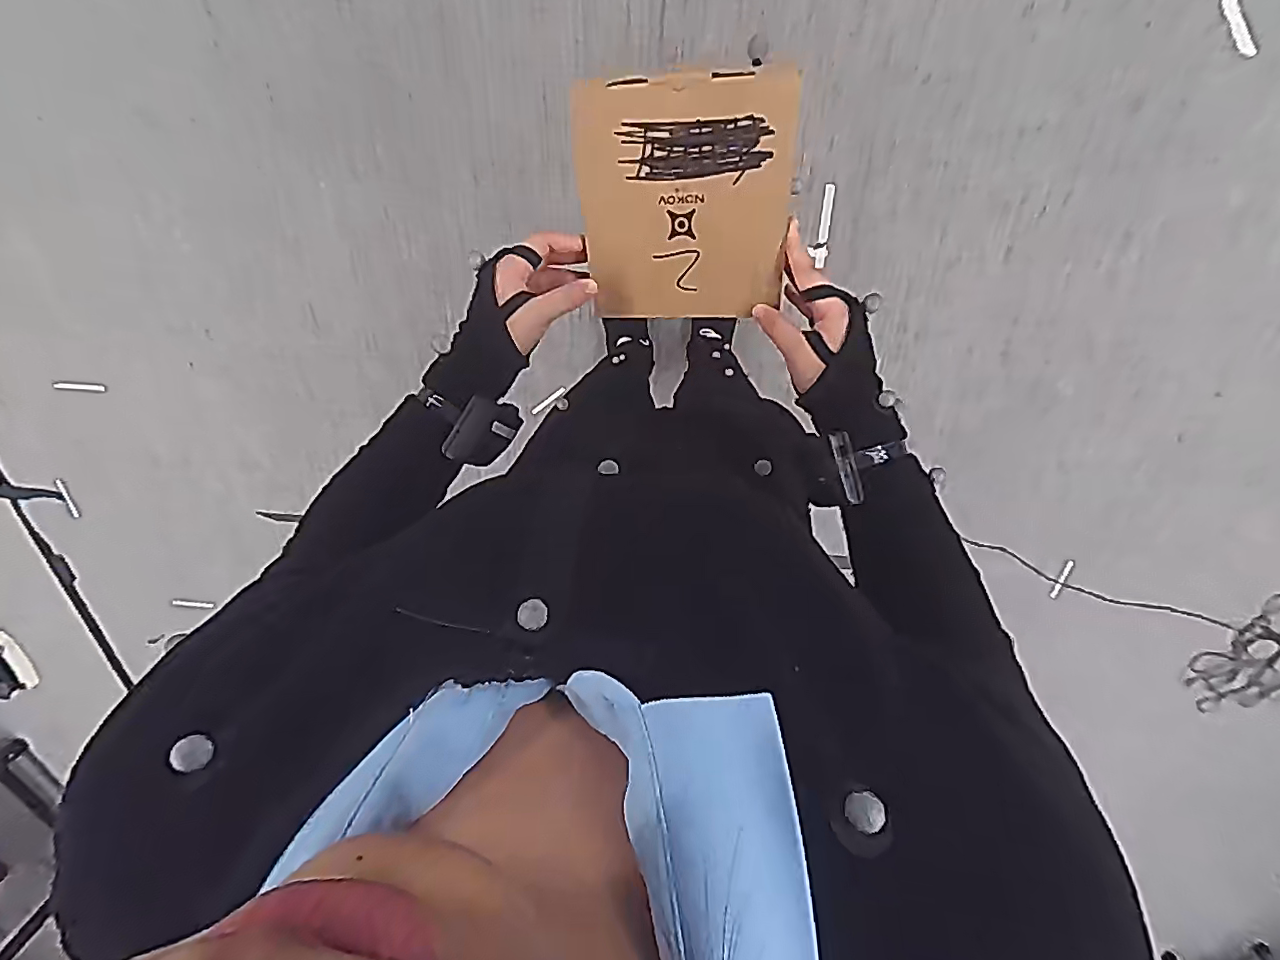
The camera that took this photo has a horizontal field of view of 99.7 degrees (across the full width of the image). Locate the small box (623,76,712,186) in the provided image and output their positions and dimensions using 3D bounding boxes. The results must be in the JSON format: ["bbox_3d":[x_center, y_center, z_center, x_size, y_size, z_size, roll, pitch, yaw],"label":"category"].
[{"bbox_3d":[0.052,-0.700,1.099,0.168,0.176,0.179,2,119,3],"label":"small box"}]
